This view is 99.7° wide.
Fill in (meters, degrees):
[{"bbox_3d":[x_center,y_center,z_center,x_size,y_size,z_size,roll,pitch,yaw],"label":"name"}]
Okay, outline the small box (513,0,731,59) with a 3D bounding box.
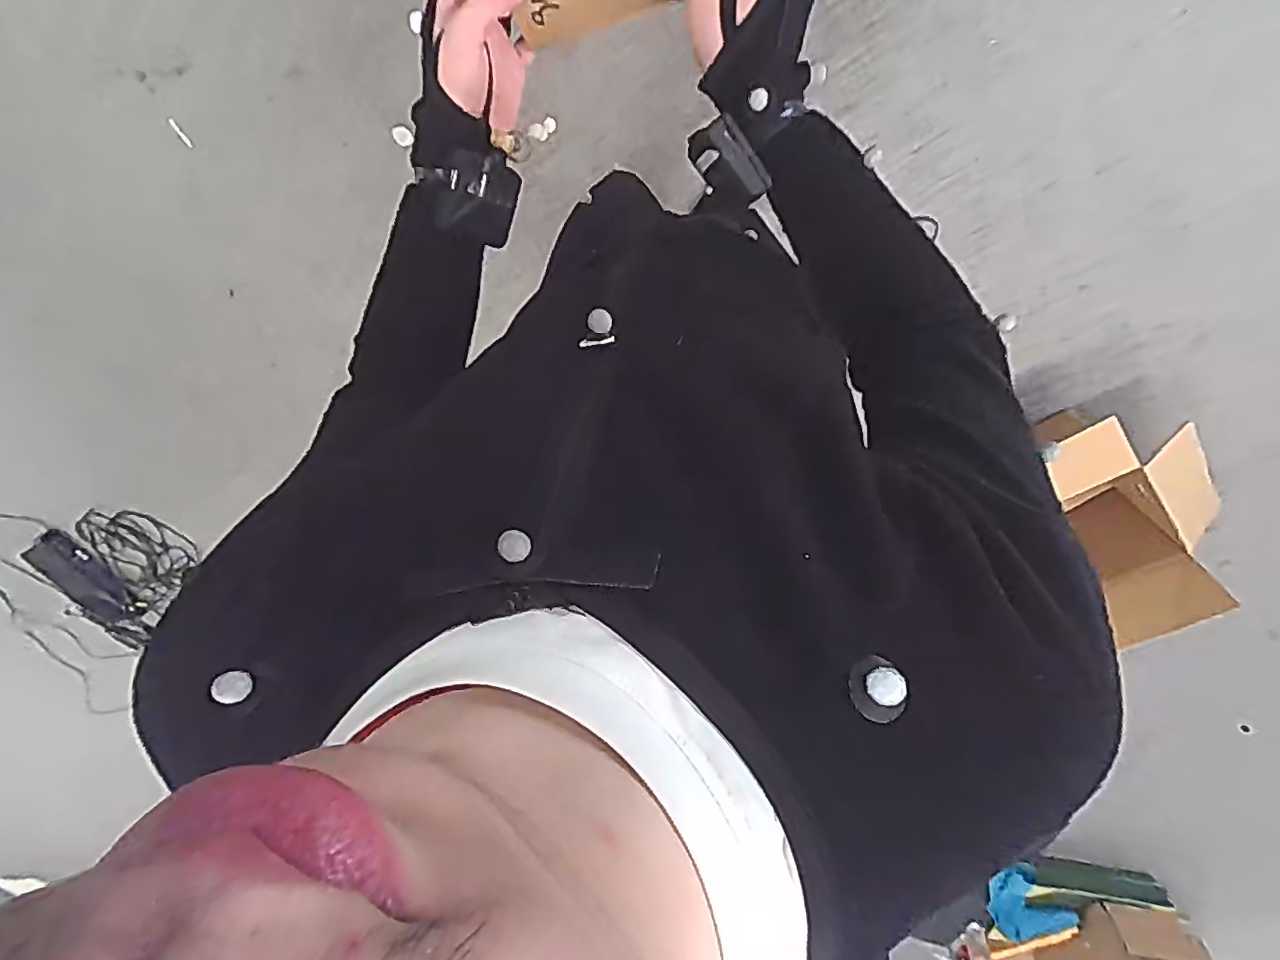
[{"bbox_3d":[-0.017,-0.449,0.371,0.179,0.176,0.168,1,158,21],"label":"small box"}]
